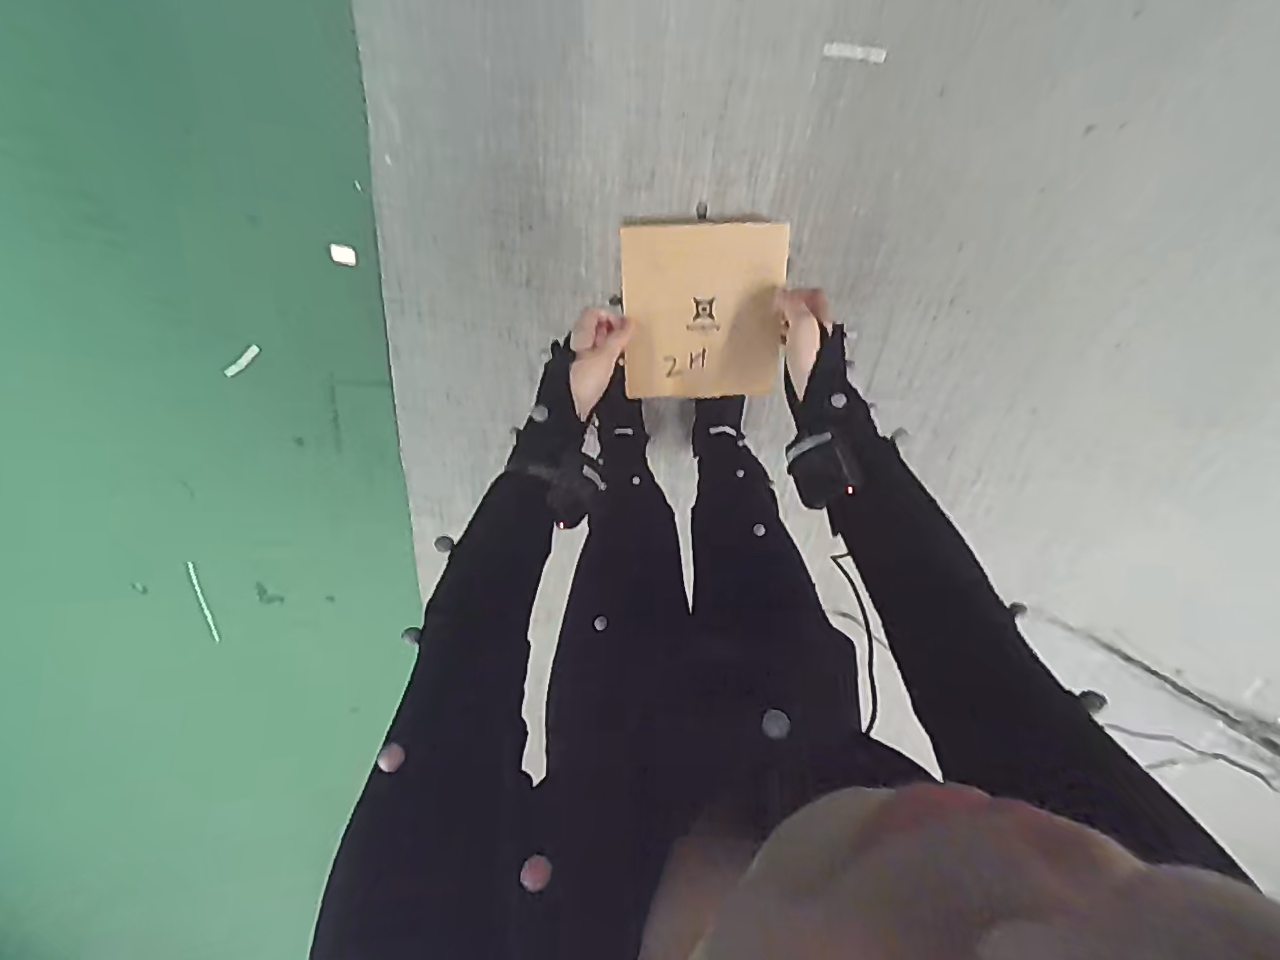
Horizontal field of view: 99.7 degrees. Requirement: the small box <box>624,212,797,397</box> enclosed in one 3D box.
[{"bbox_3d":[0.066,-0.203,0.609,0.168,0.176,0.179,-1,118,1],"label":"small box"}]
